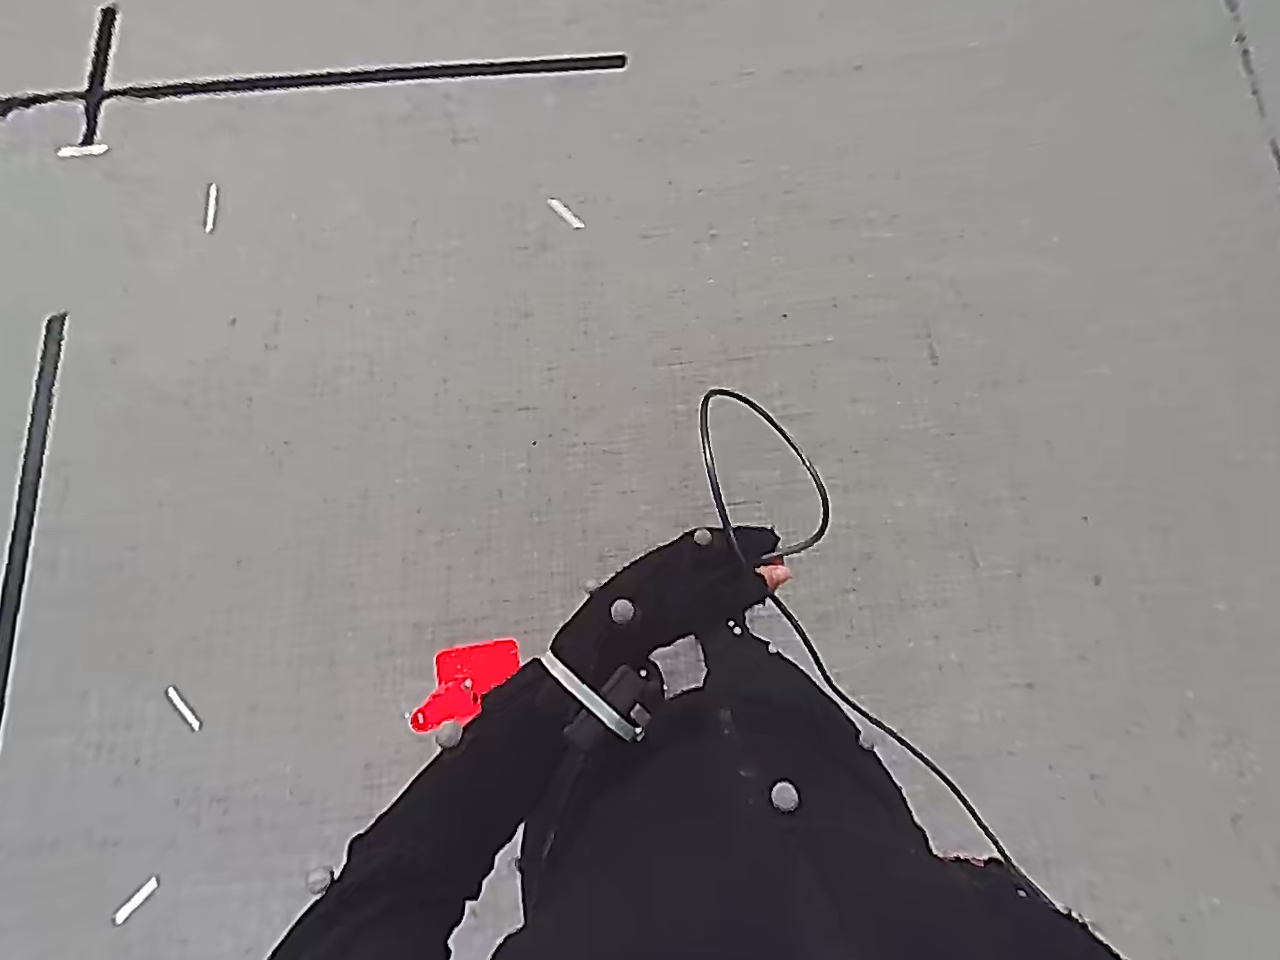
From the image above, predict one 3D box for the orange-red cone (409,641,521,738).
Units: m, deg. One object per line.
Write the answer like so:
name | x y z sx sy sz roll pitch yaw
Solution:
orange-red cone | -0.383 0.451 1.102 0.198 0.360 0.199 -9 77 -2
